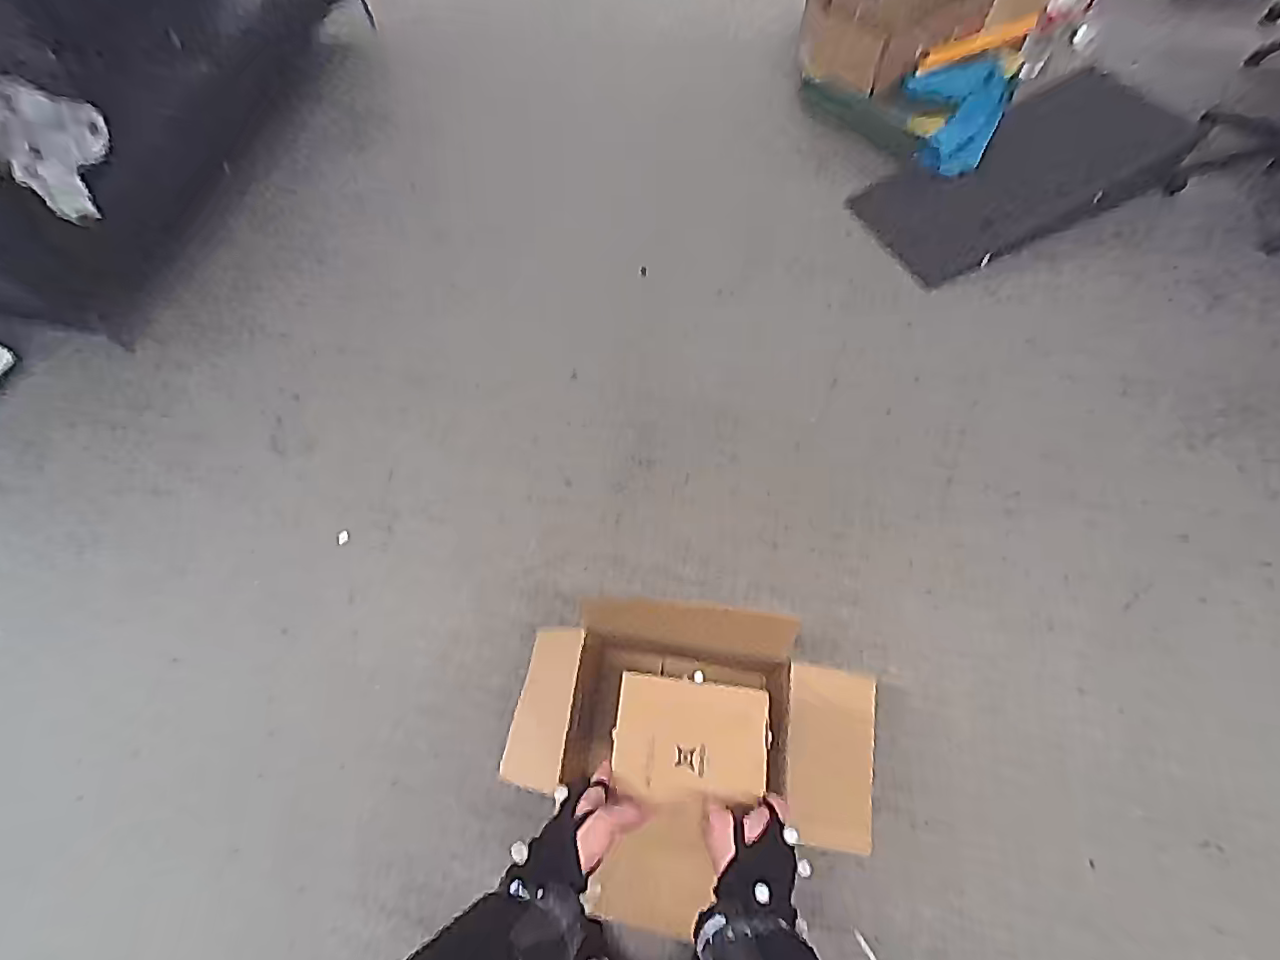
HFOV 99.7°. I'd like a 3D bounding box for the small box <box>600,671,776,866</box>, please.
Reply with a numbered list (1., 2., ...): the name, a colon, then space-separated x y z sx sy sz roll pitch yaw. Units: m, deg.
1. small box: 0.062 0.345 0.664 0.179 0.176 0.168 7 63 9
